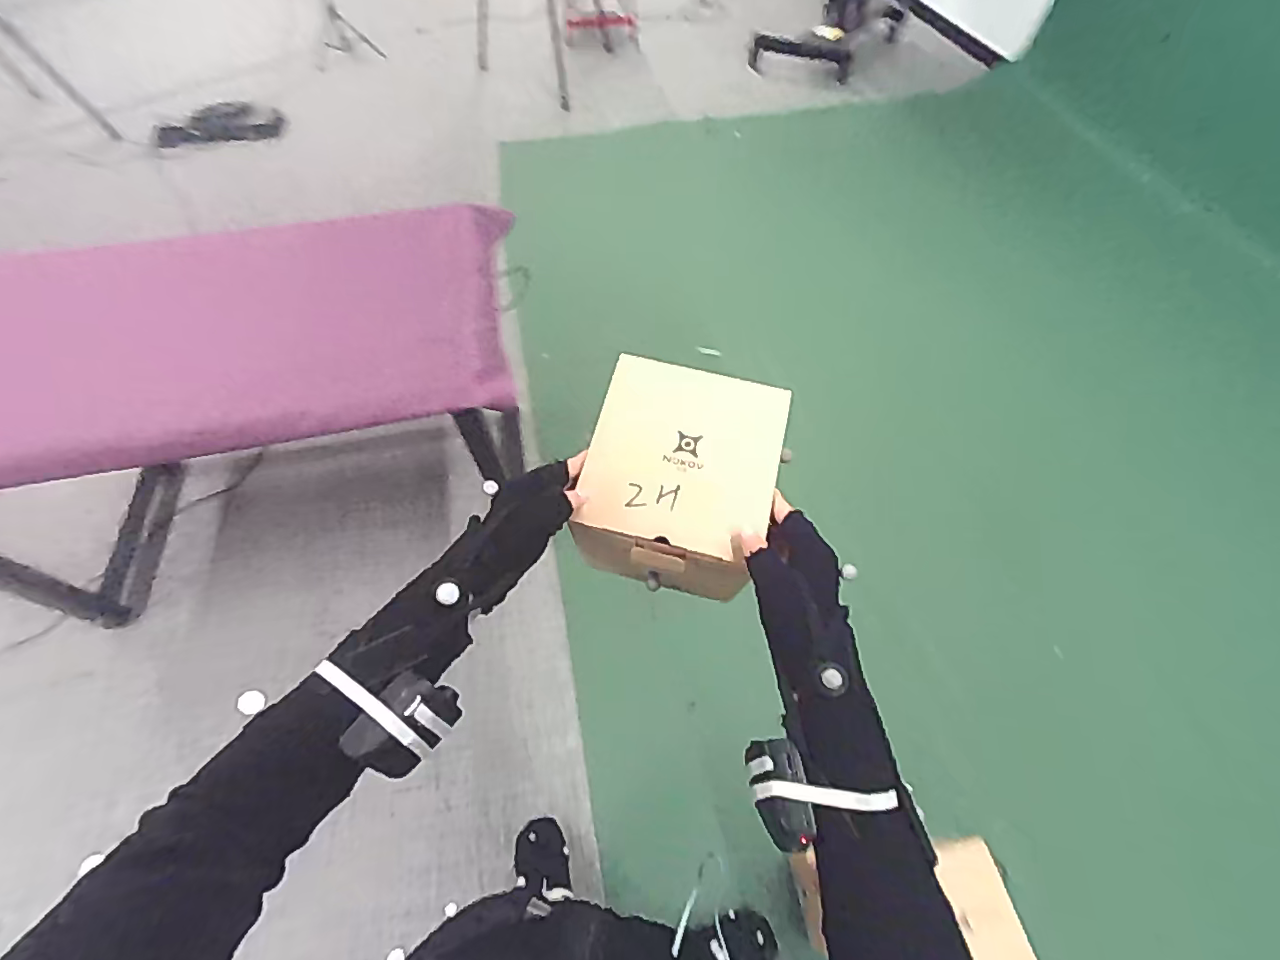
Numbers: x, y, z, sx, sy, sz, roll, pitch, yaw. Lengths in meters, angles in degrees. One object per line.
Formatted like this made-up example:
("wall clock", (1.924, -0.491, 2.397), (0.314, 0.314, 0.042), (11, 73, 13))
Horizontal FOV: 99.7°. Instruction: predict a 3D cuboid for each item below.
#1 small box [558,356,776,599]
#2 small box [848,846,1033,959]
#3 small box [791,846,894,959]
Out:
("small box", (0.028, 0.007, 0.553), (0.168, 0.176, 0.179), (13, 69, 6))
("small box", (0.430, 0.656, 0.800), (0.179, 0.176, 0.168), (-8, 57, -6))
("small box", (0.421, 0.839, 1.074), (0.179, 0.176, 0.168), (-9, 57, -4))
